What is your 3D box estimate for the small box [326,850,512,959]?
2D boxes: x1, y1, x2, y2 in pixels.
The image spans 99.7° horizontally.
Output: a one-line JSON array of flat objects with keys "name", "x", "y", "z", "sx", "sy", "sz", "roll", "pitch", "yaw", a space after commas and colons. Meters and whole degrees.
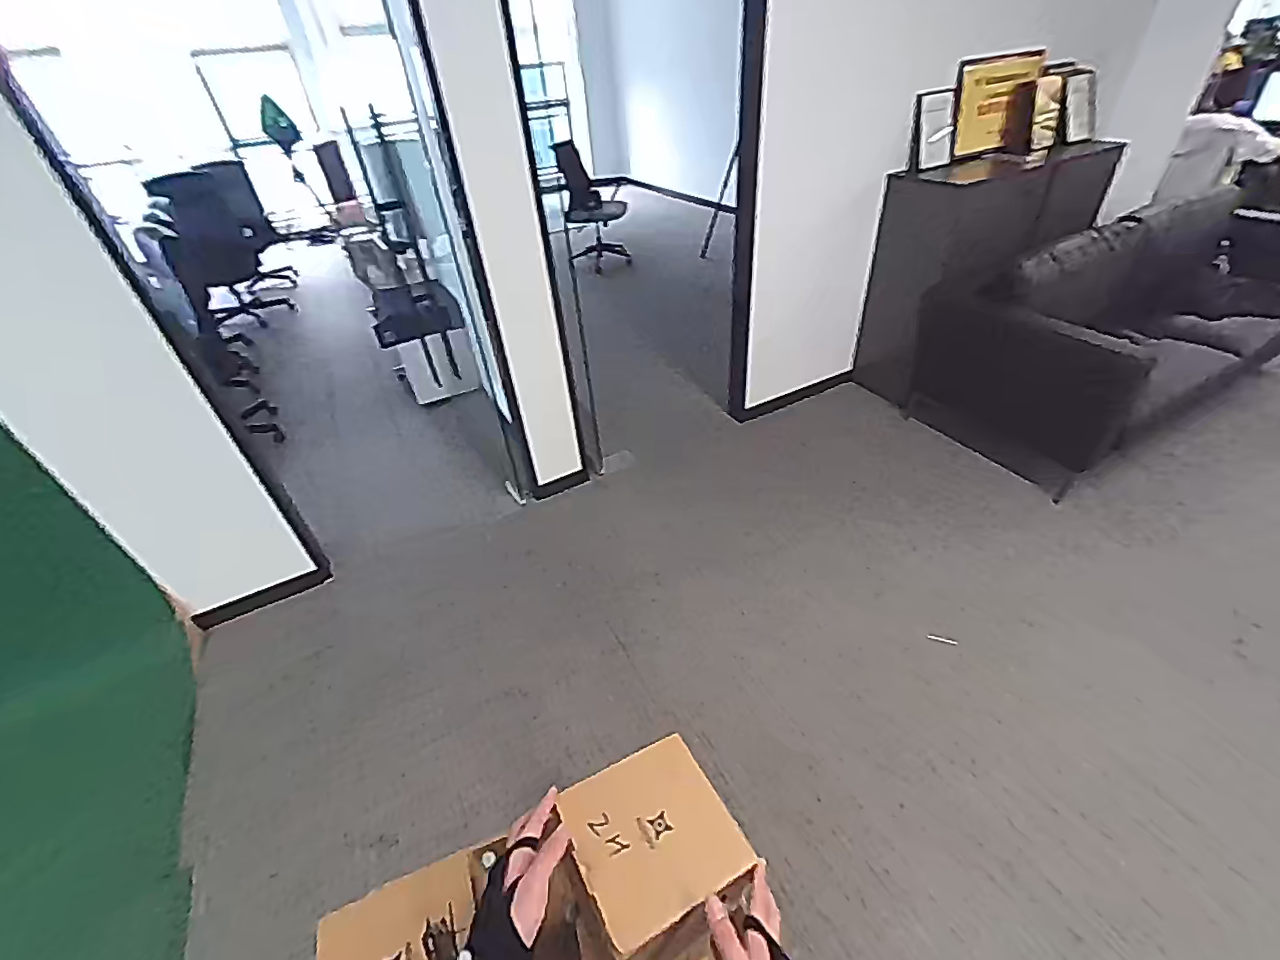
[{"name": "small box", "x": -0.254, "y": 0.595, "z": 0.653, "sx": 0.179, "sy": 0.176, "sz": 0.168, "roll": -18, "pitch": 40, "yaw": -13}]

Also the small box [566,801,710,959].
[{"name": "small box", "x": -0.003, "y": 0.634, "z": 0.829, "sx": 0.179, "sy": 0.176, "sz": 0.168, "roll": -15, "pitch": 40, "yaw": -10}]
